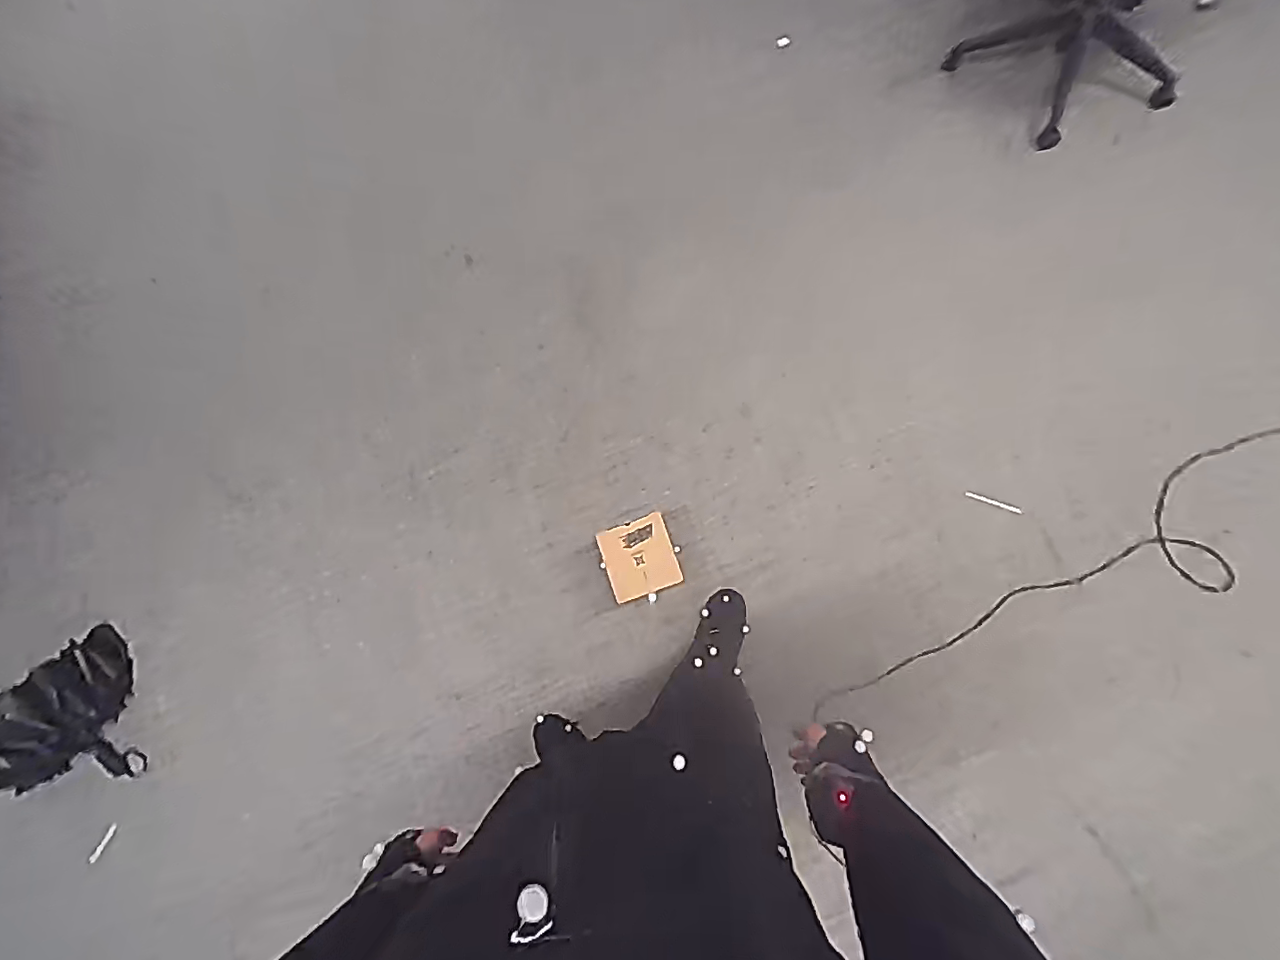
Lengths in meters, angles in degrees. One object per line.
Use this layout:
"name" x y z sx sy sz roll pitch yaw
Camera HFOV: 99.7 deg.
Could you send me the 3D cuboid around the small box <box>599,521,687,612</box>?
"small box" 0.011 0.219 1.350 0.168 0.176 0.179 -20 78 1
